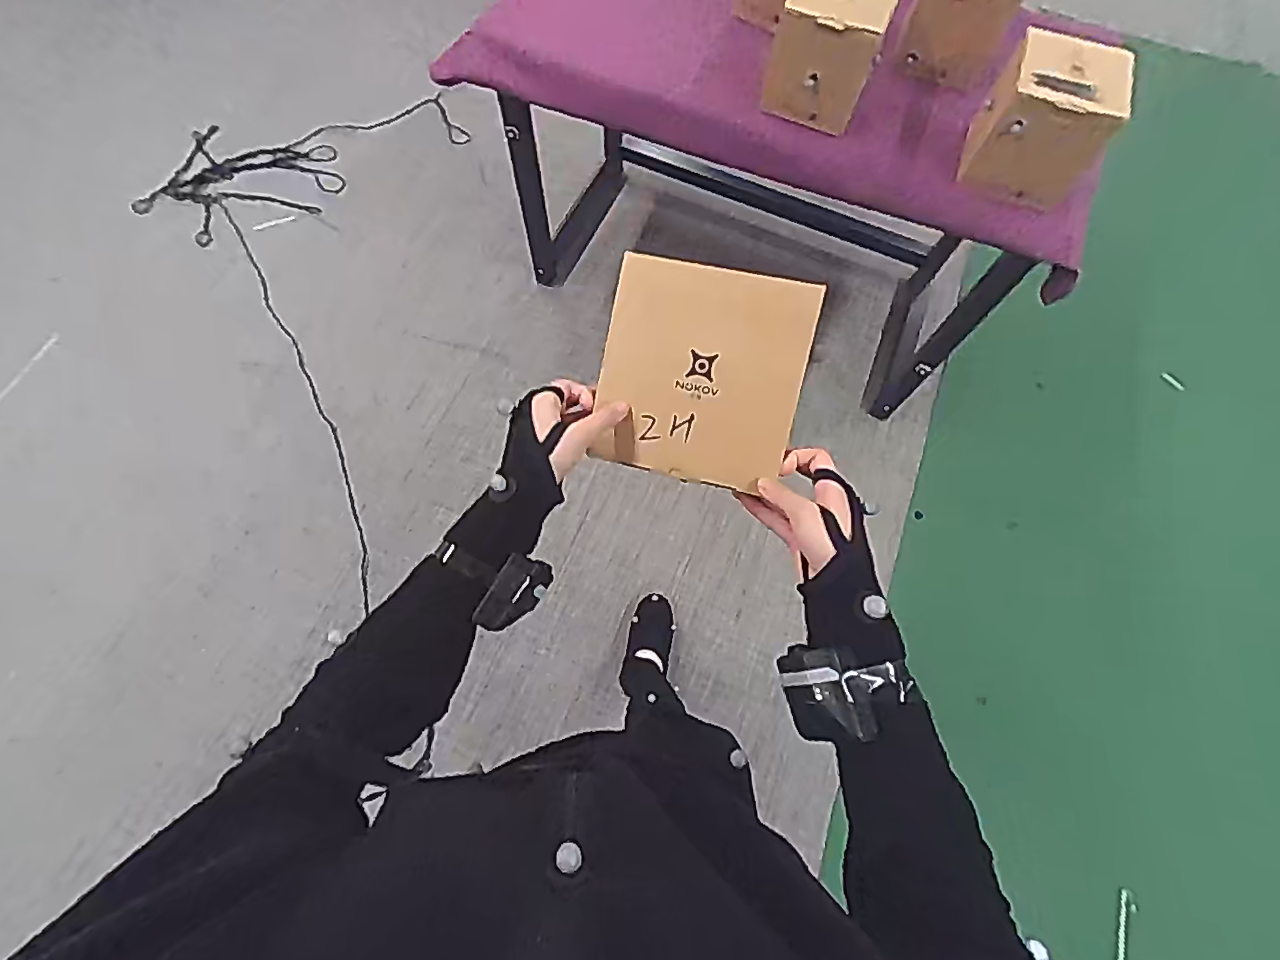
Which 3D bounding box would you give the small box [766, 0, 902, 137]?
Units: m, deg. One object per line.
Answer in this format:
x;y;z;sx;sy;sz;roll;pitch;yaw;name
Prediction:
0.339;-0.760;0.967;0.168;0.176;0.179;24;69;7;small box

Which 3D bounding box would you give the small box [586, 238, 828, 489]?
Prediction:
0.064;-0.103;0.521;0.168;0.176;0.179;15;98;9;small box

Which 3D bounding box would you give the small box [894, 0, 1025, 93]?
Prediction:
0.609;-0.883;1.025;0.168;0.176;0.179;22;68;6;small box
